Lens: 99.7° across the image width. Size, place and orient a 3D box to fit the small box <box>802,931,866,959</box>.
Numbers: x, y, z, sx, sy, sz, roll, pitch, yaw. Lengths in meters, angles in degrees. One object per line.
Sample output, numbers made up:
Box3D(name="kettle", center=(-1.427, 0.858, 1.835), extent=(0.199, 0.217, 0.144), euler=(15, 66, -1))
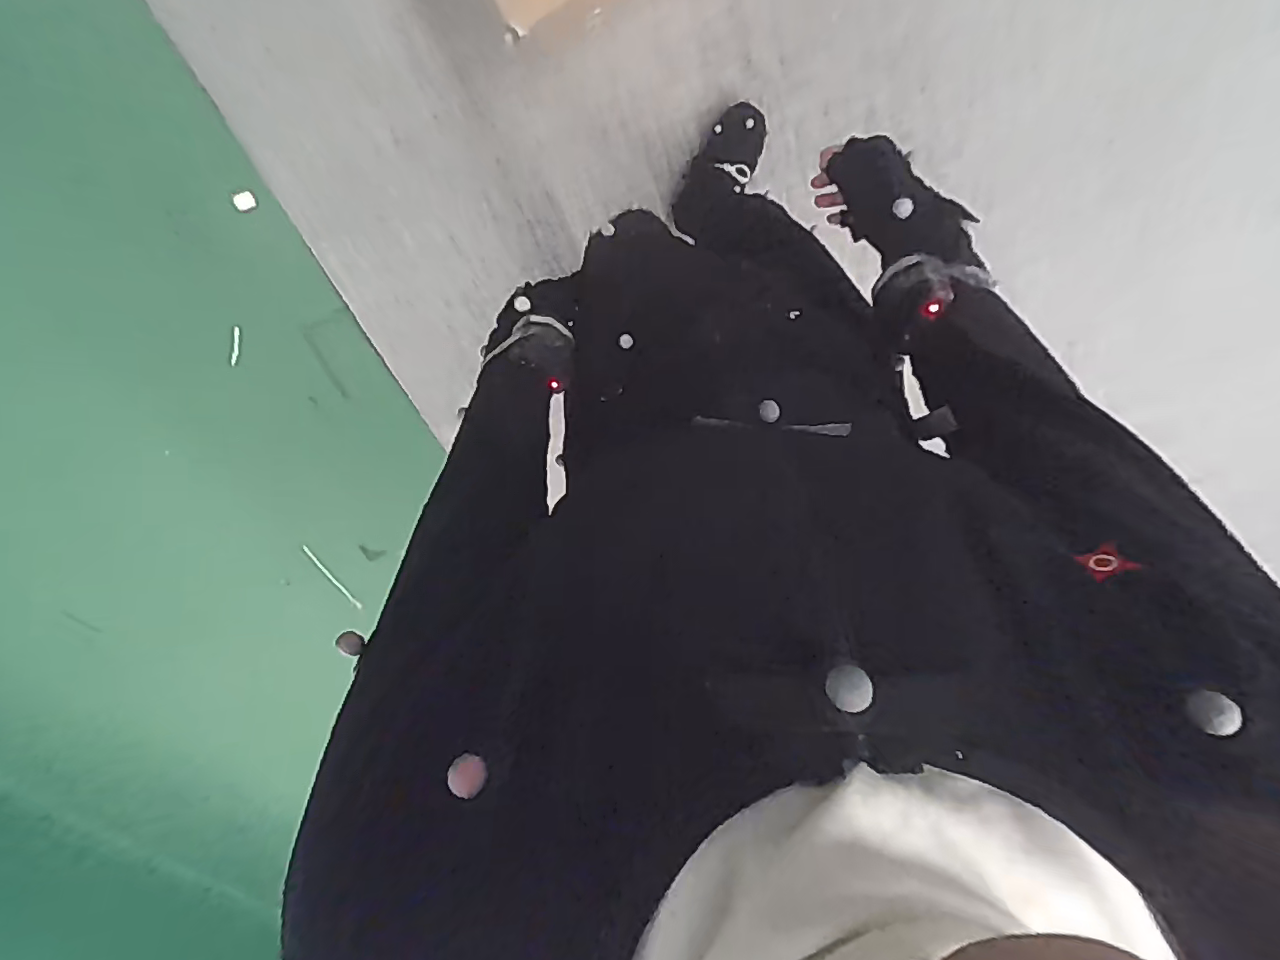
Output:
Box3D(name="small box", center=(0.611, 1.513, 1.656), extent=(0.179, 0.176, 0.168), euler=(-15, 122, 13))
